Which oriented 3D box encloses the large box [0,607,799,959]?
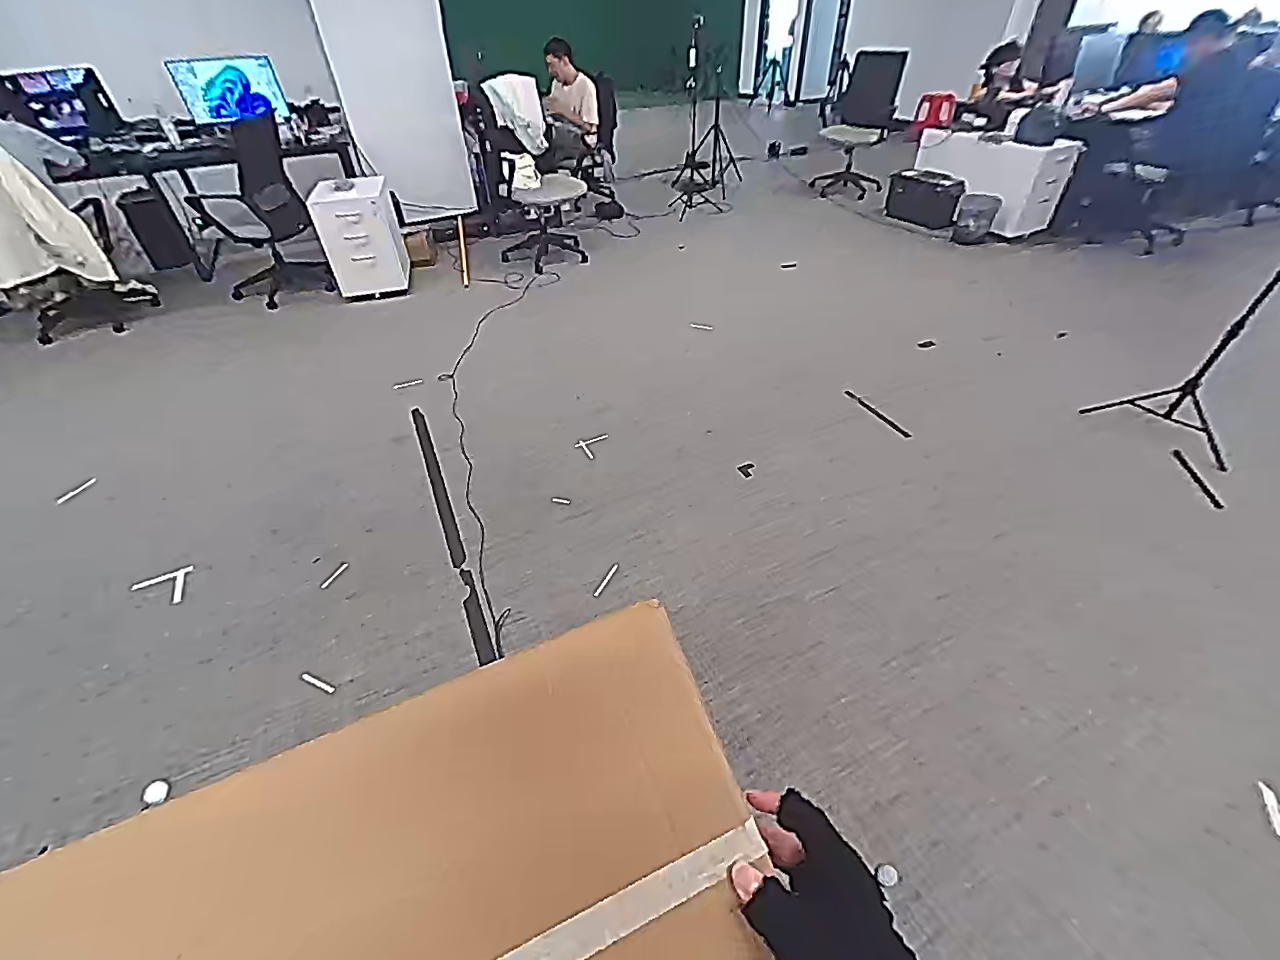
[{"bbox_3d":[-0.134,0.338,0.431,0.408,0.320,0.320,-20,76,-14],"label":"large box"}]
